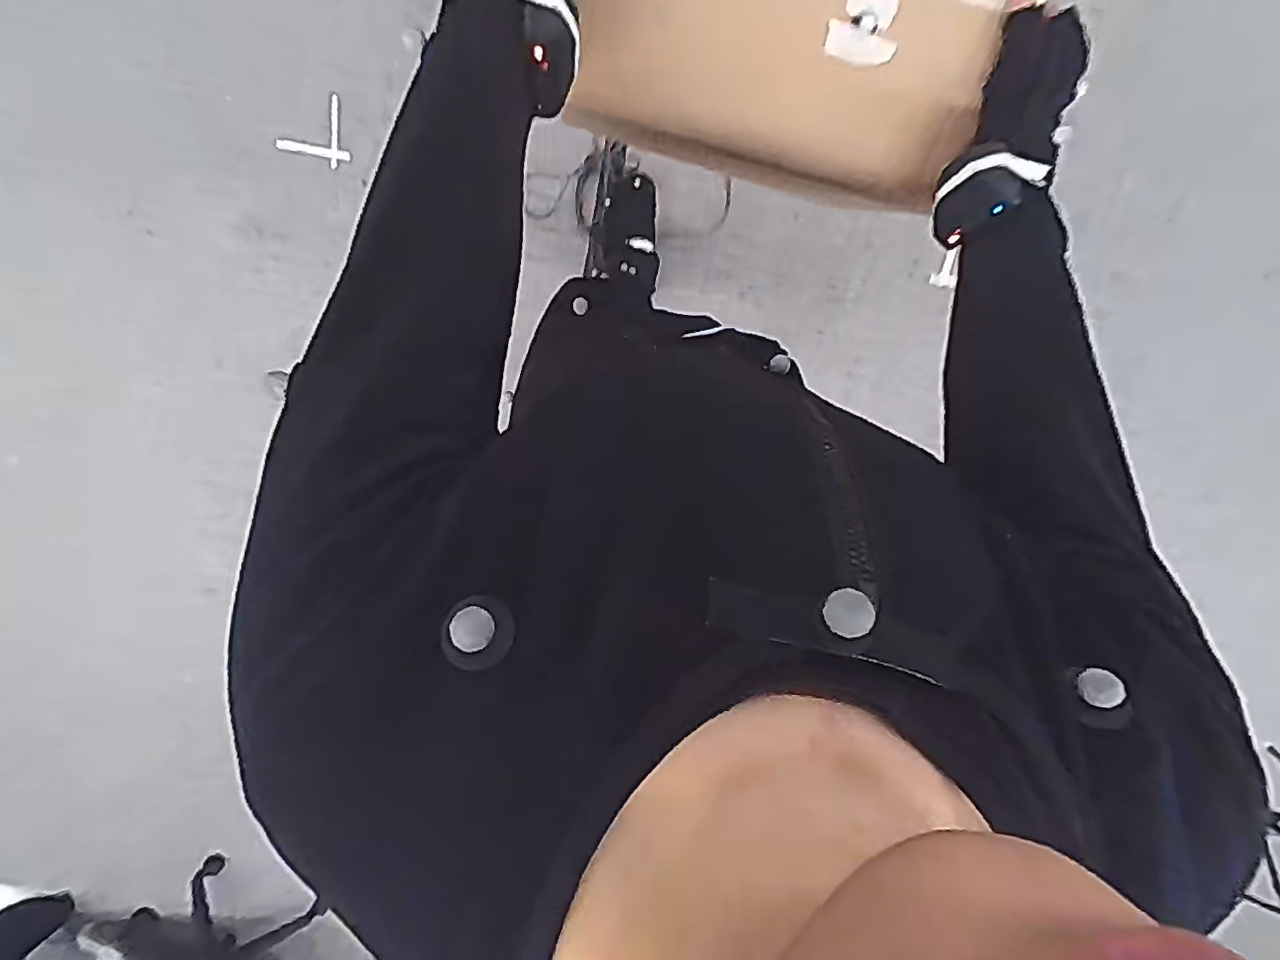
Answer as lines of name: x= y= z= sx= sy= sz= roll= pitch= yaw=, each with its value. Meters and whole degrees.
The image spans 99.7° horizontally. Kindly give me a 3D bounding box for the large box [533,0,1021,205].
large box: x=0.124 y=-0.508 z=0.570 sx=0.408 sy=0.320 sz=0.320 roll=12 pitch=118 yaw=-8
